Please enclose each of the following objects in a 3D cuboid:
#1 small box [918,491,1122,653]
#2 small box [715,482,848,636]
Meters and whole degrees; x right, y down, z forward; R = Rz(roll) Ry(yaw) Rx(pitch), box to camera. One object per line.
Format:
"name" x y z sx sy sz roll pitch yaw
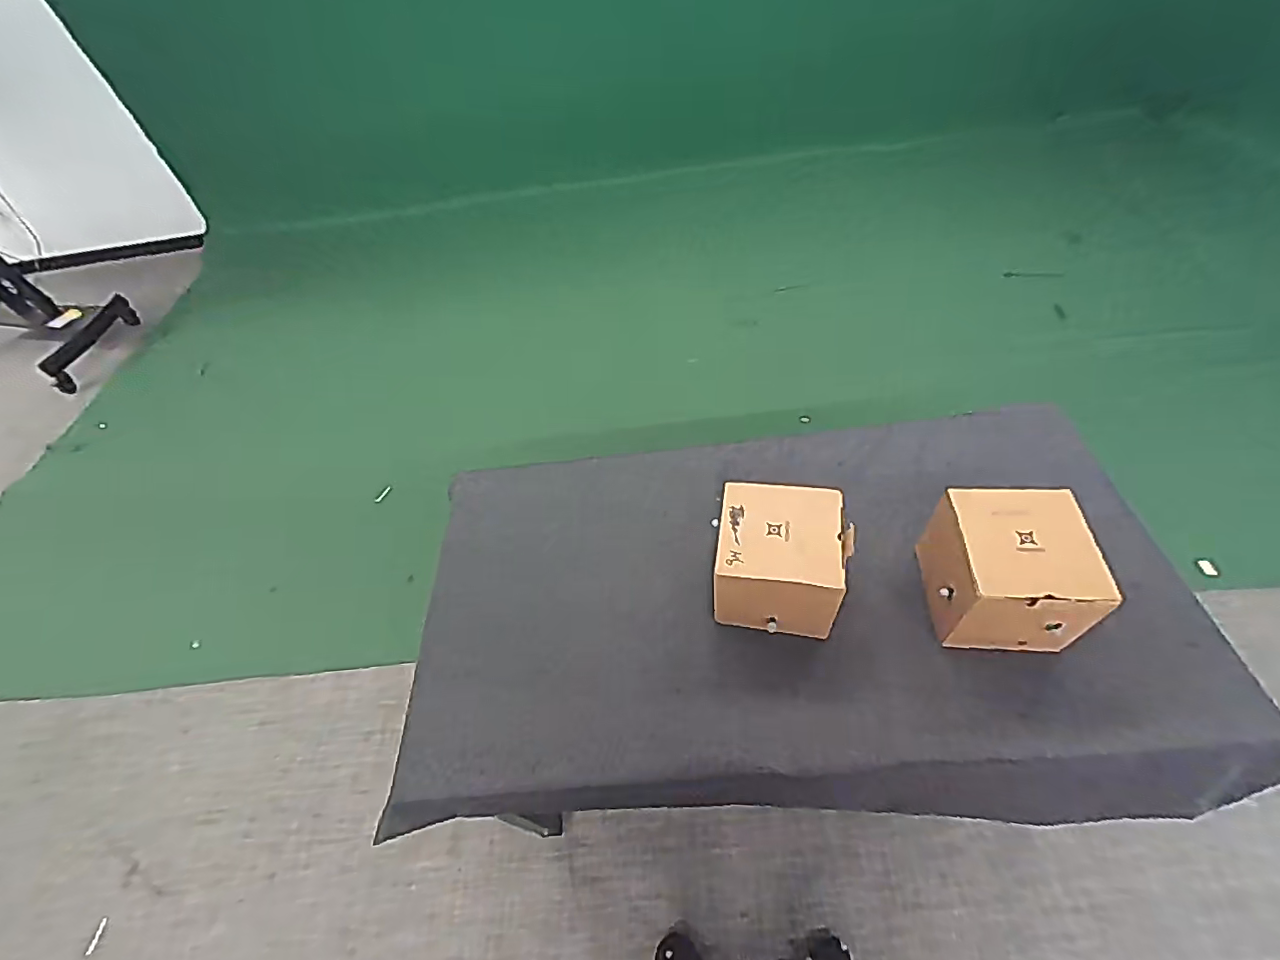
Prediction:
"small box" 0.528 0.135 0.784 0.168 0.176 0.179 2 50 8
"small box" 0.214 0.126 0.838 0.179 0.176 0.168 6 52 12
